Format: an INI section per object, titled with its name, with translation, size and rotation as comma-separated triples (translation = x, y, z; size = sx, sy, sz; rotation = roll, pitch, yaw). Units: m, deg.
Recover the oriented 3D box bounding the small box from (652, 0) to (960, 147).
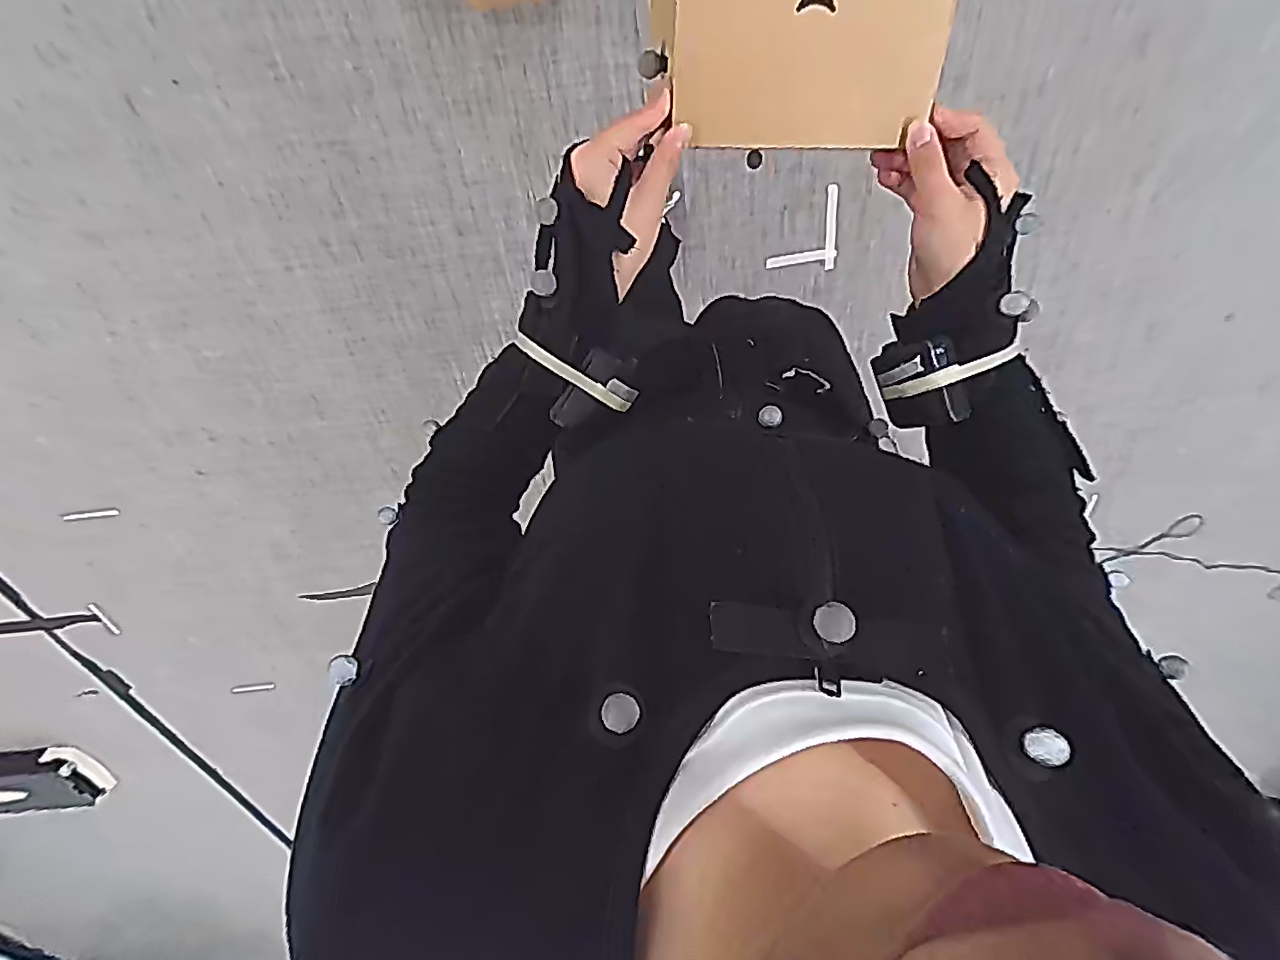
[small box]
translation = 0.098, -0.332, 0.365
size = 0.168, 0.176, 0.179
rotation = -2, 123, -4
